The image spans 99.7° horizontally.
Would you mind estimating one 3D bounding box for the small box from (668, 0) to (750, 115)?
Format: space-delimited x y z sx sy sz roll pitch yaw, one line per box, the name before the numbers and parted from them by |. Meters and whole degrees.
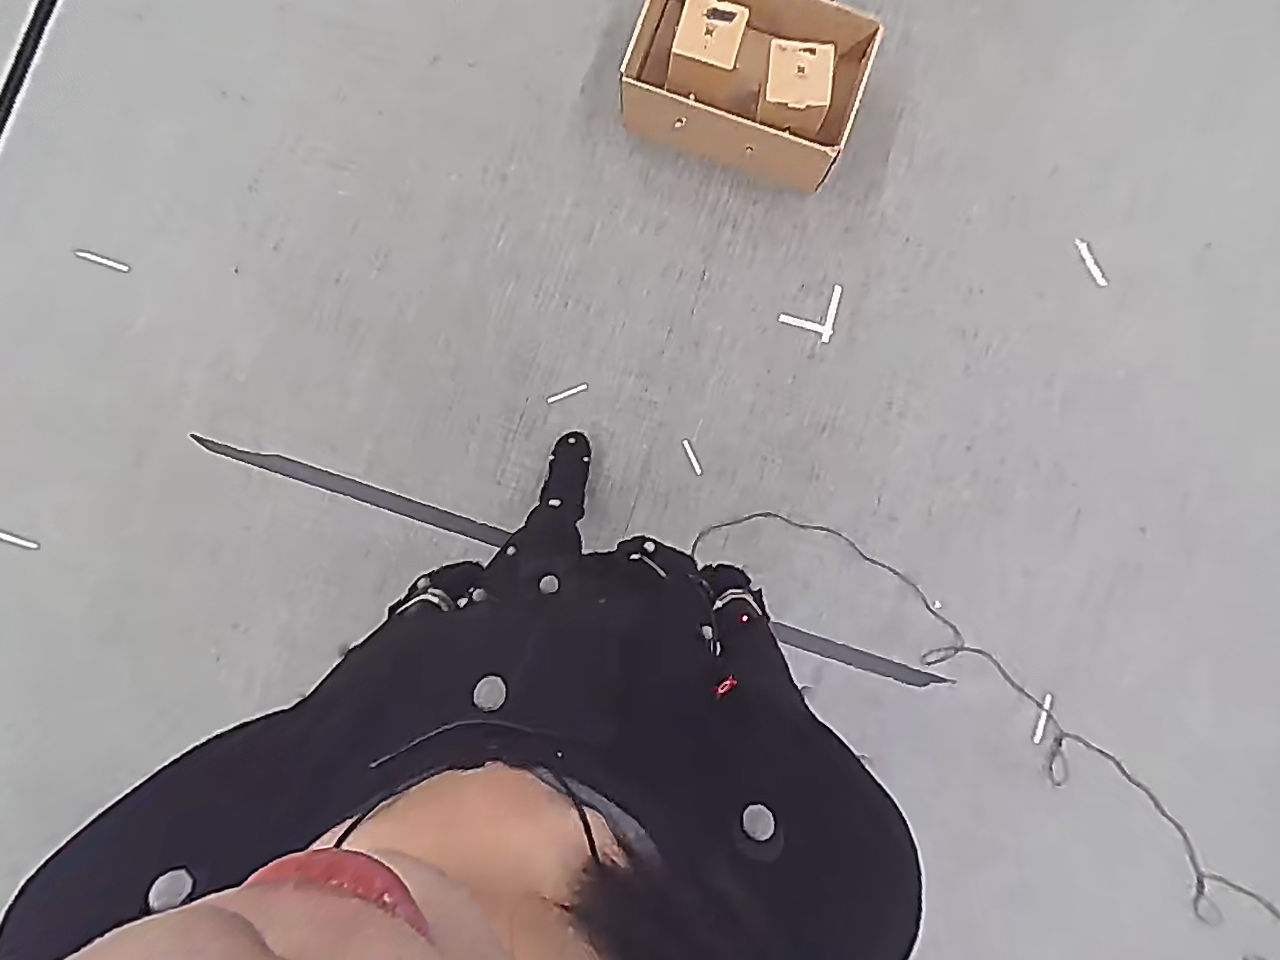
small box | 0.178 -1.143 1.460 0.168 0.176 0.179 16 86 -1
